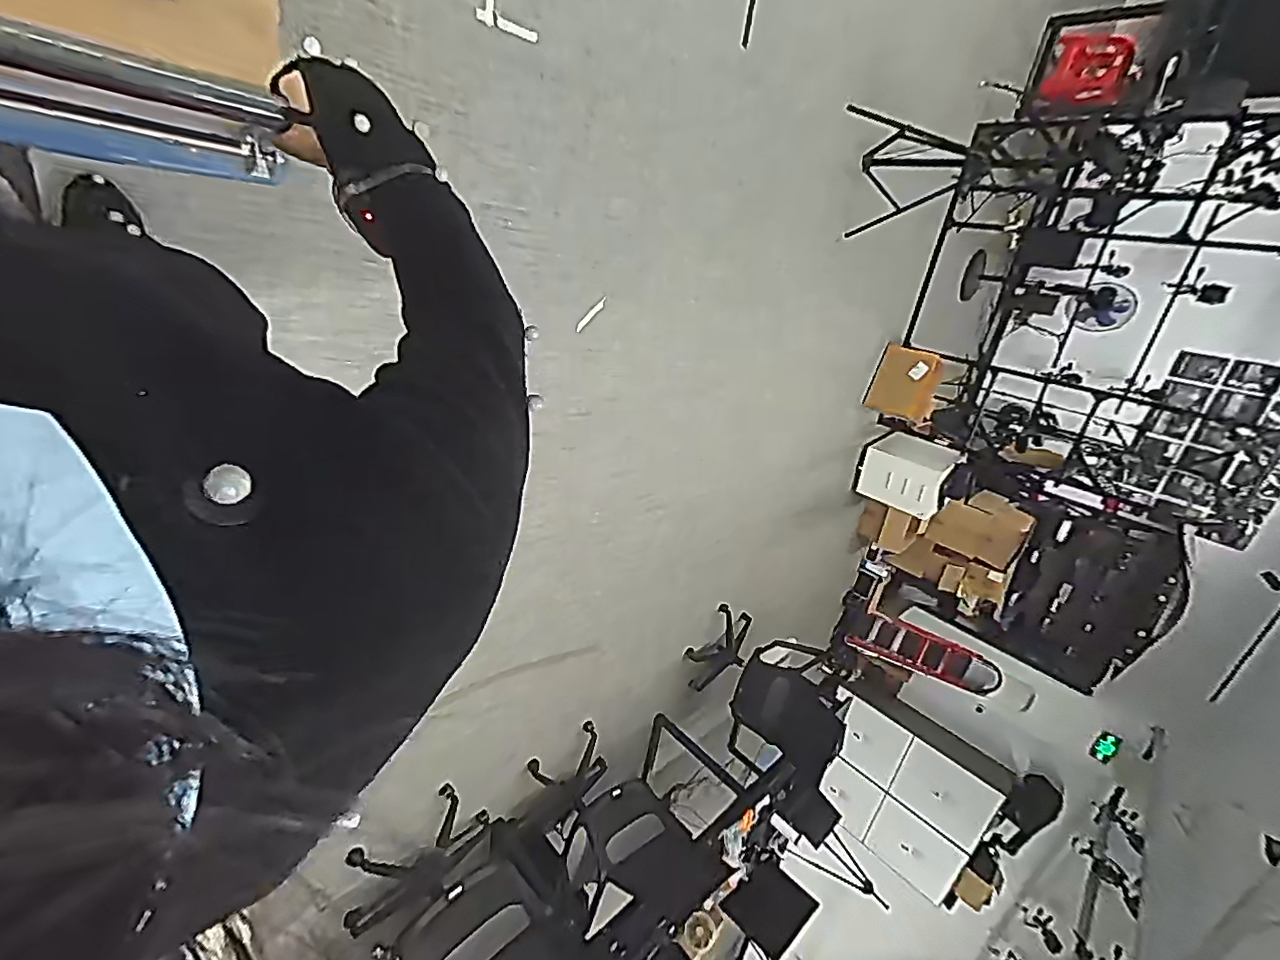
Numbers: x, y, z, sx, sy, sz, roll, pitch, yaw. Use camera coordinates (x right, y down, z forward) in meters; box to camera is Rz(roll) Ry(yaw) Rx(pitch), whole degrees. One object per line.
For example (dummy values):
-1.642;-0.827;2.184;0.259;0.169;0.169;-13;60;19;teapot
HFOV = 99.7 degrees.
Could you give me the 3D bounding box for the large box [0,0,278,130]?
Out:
-0.735;-0.665;0.662;0.408;0.320;0.320;-14;121;-45;large box
